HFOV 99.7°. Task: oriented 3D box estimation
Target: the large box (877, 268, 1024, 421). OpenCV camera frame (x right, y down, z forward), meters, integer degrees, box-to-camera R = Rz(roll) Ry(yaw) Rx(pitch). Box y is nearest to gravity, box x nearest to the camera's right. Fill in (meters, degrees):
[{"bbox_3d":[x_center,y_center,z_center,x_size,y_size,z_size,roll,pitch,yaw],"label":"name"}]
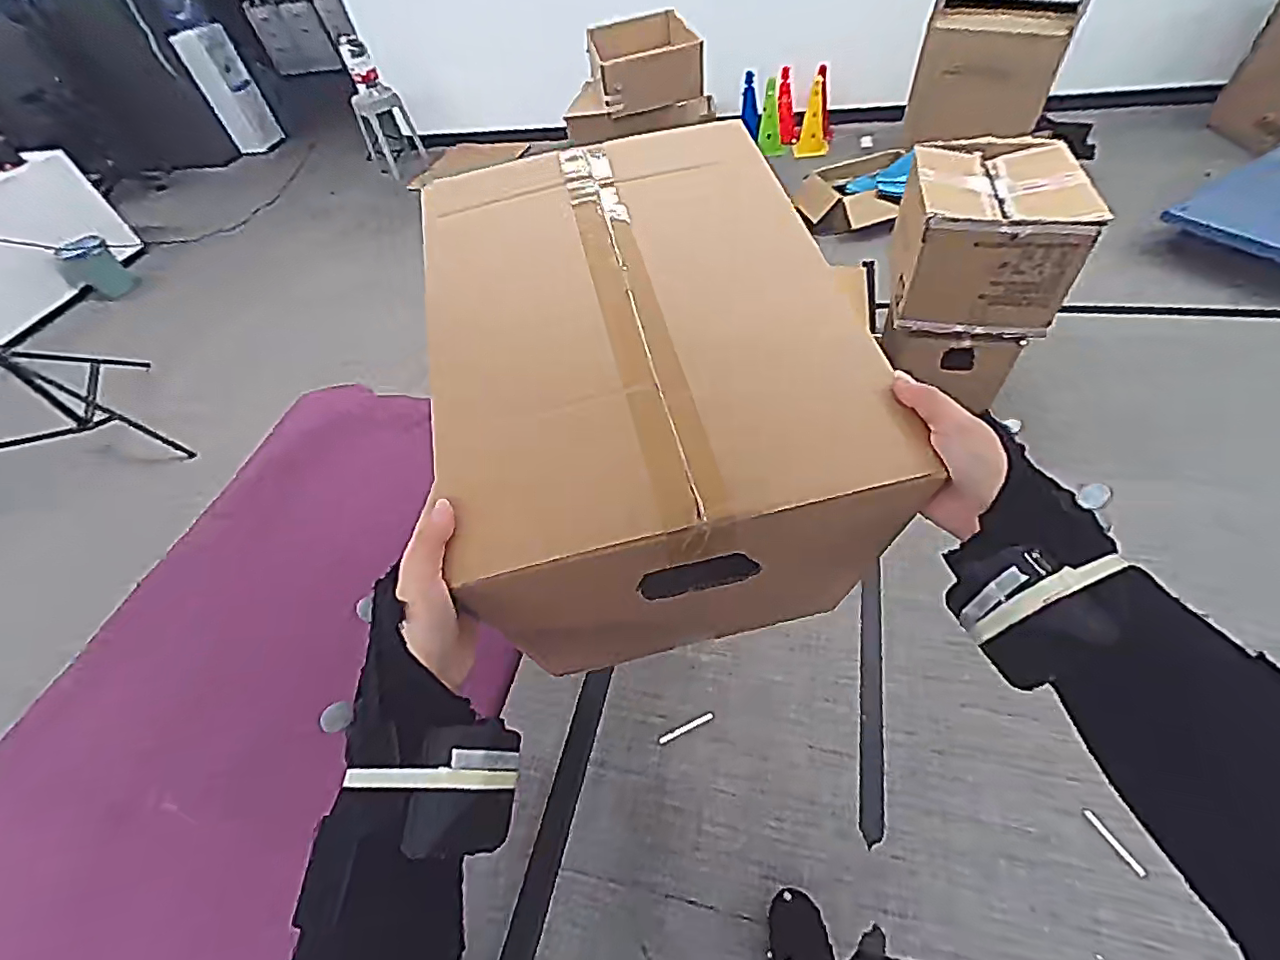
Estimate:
[{"bbox_3d":[0.995,-0.453,1.794,0.320,0.320,0.408,5,53,13],"label":"large box"}]
